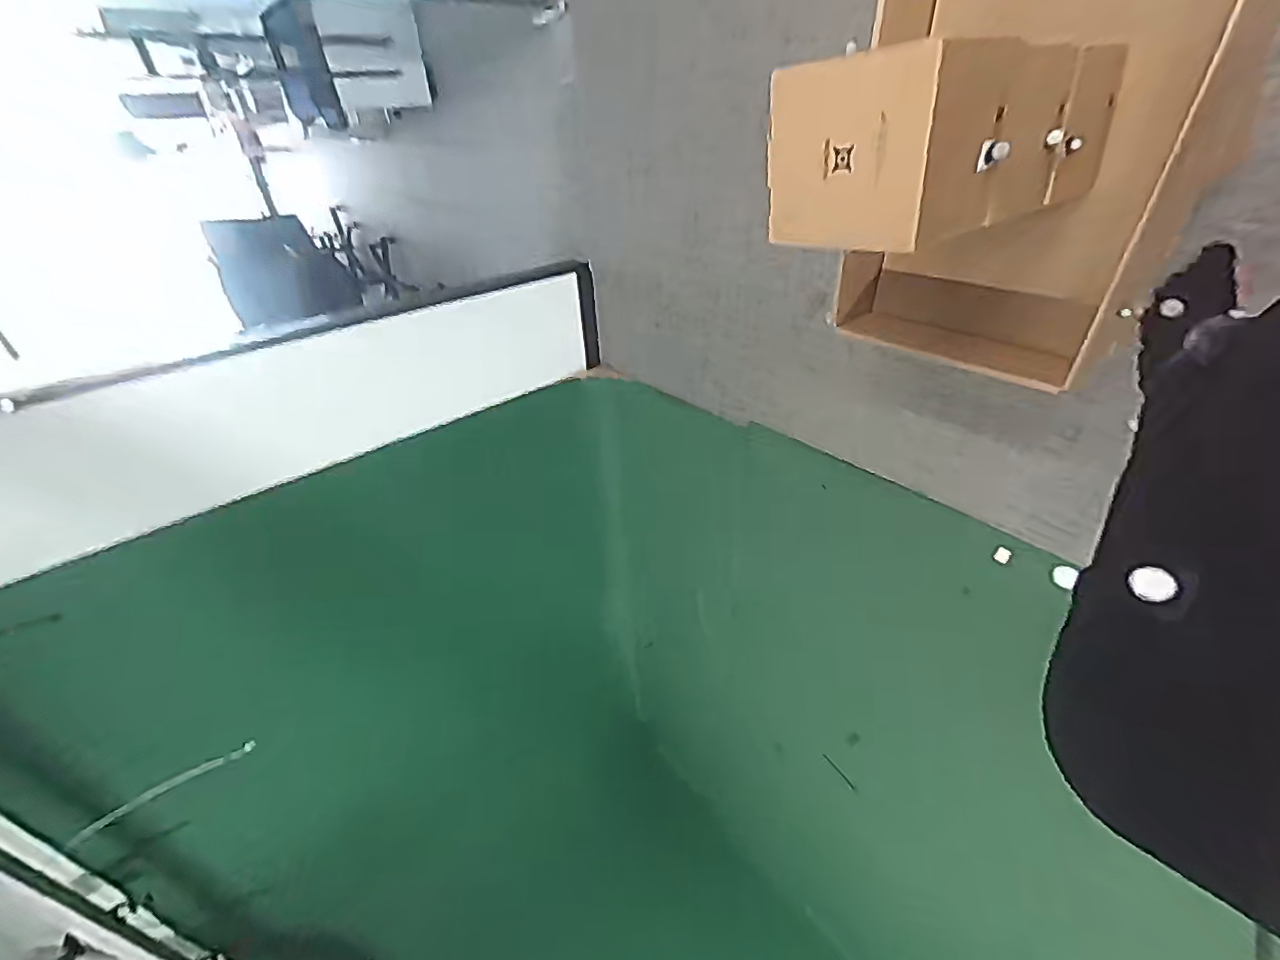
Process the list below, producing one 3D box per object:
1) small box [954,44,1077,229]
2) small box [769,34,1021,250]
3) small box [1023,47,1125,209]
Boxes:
[{"bbox_3d":[0.383,-0.410,0.661,0.179,0.176,0.168,27,135,44],"label":"small box"},{"bbox_3d":[0.259,-0.351,0.575,0.179,0.176,0.168,27,136,43],"label":"small box"},{"bbox_3d":[0.510,-0.473,0.743,0.179,0.176,0.168,28,136,45],"label":"small box"}]
